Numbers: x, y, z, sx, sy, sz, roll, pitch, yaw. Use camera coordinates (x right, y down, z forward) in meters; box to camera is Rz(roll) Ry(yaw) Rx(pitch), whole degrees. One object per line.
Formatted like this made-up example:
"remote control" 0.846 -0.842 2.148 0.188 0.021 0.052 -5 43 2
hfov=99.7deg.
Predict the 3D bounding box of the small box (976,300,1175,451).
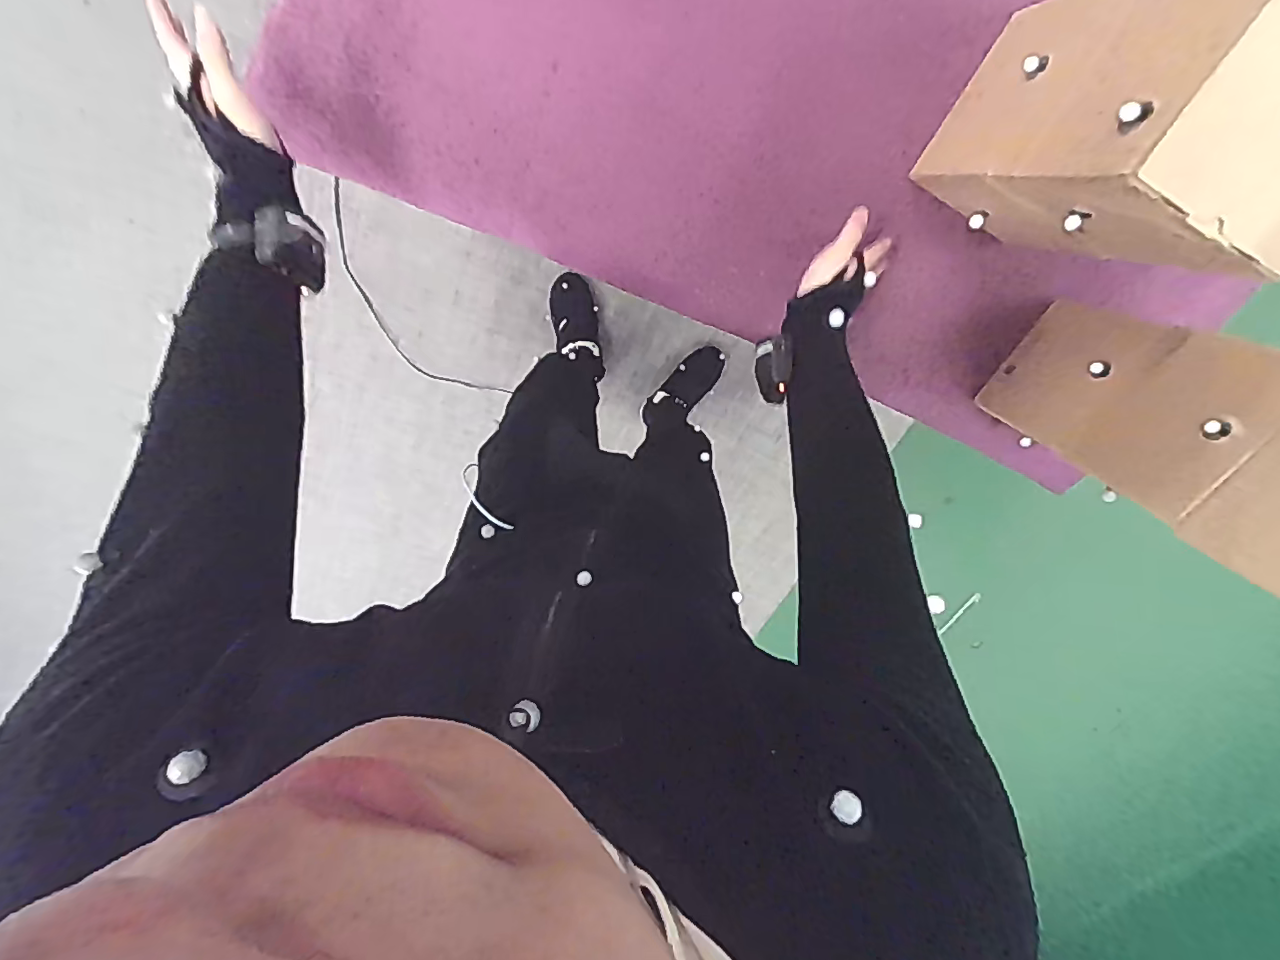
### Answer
"small box" 0.601 -0.117 0.711 0.179 0.176 0.168 24 115 -15

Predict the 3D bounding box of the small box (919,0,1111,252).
"small box" 0.436 -0.369 0.561 0.168 0.176 0.179 24 116 -15

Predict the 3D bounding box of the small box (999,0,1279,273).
"small box" 0.437 -0.291 0.418 0.168 0.176 0.179 21 118 -14

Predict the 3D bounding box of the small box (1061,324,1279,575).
"small box" 0.611 -0.040 0.568 0.168 0.176 0.179 24 115 -13
